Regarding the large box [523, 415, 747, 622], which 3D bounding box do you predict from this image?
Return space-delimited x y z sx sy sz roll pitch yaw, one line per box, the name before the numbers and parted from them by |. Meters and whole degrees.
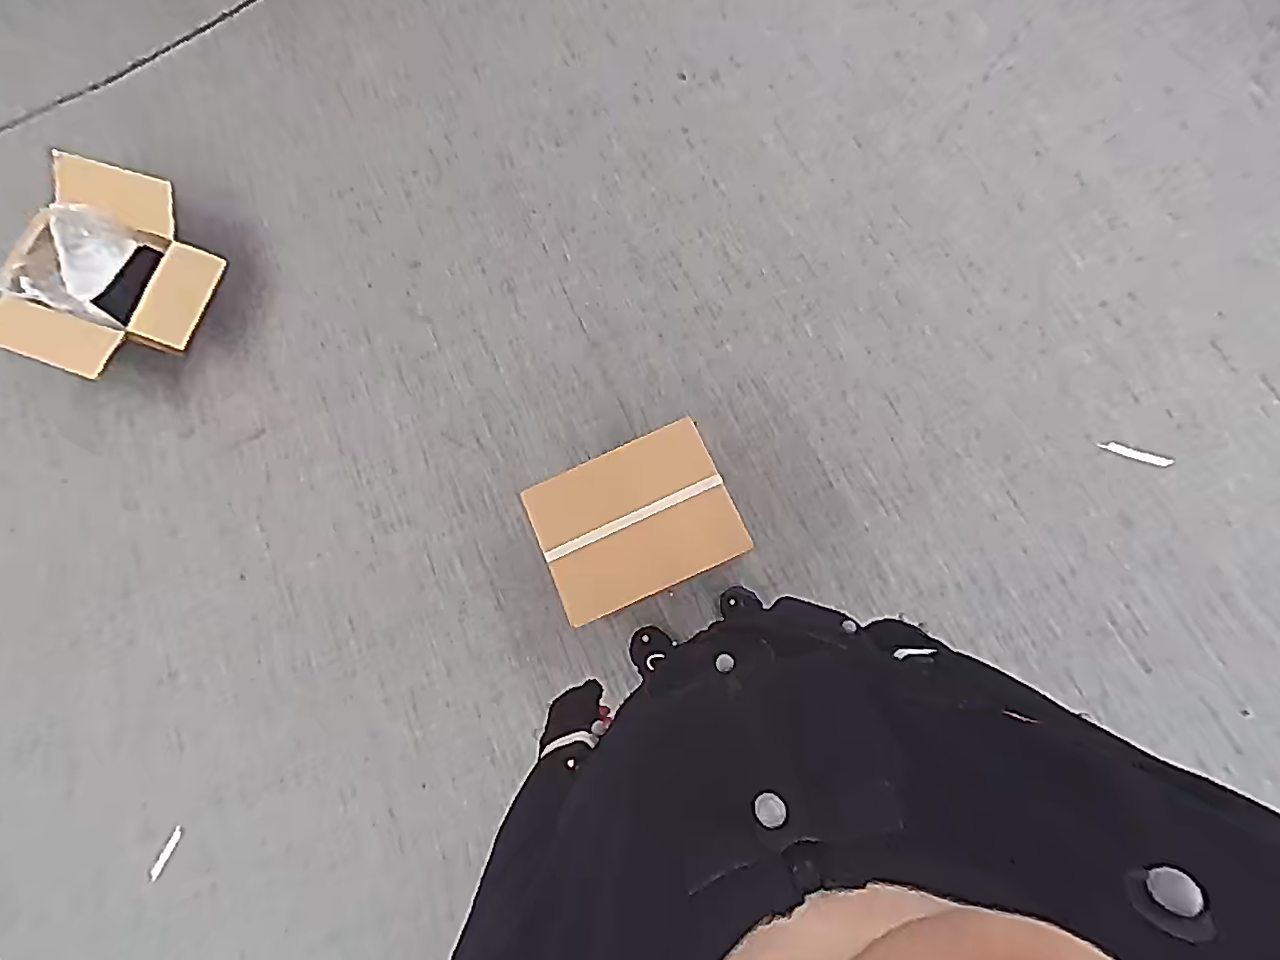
large box | -0.003 0.106 1.281 0.408 0.320 0.320 -24 78 1
